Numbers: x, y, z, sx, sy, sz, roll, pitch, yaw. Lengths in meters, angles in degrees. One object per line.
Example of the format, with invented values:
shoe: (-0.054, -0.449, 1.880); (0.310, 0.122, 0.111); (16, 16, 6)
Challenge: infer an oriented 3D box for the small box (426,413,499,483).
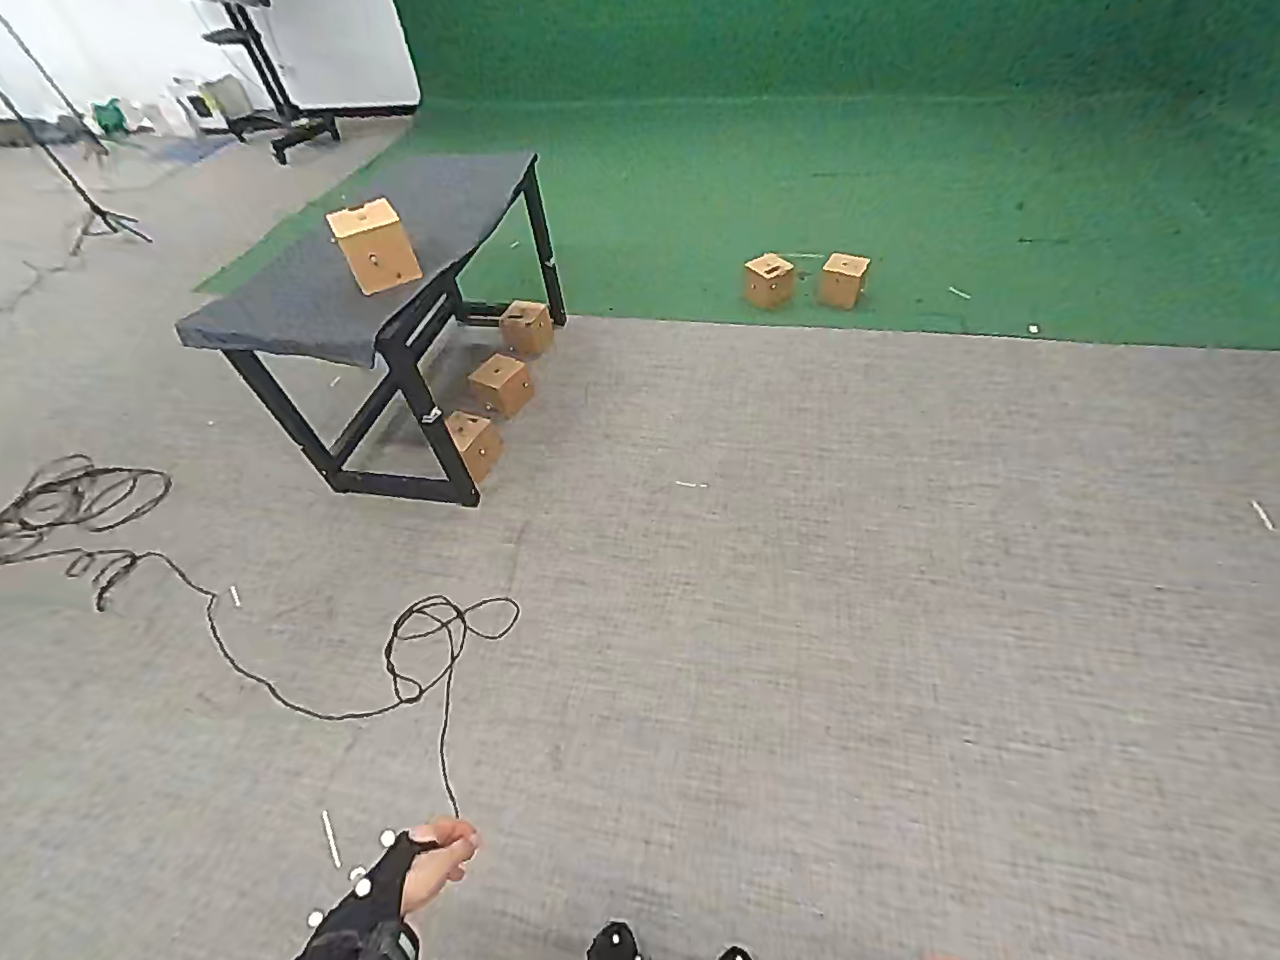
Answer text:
small box: (-0.649, -0.115, 2.007); (0.168, 0.176, 0.179); (16, 54, 18)

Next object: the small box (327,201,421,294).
small box: (-0.734, -0.641, 1.505); (0.168, 0.176, 0.179); (-27, 52, -17)

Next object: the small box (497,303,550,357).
small box: (-0.525, -0.685, 2.482); (0.168, 0.176, 0.179); (11, 50, 13)

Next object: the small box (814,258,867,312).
small box: (0.938, -0.914, 2.545); (0.179, 0.176, 0.168); (22, 55, 22)

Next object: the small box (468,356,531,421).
small box: (-0.568, -0.376, 2.222); (0.168, 0.176, 0.179); (22, 56, 23)
